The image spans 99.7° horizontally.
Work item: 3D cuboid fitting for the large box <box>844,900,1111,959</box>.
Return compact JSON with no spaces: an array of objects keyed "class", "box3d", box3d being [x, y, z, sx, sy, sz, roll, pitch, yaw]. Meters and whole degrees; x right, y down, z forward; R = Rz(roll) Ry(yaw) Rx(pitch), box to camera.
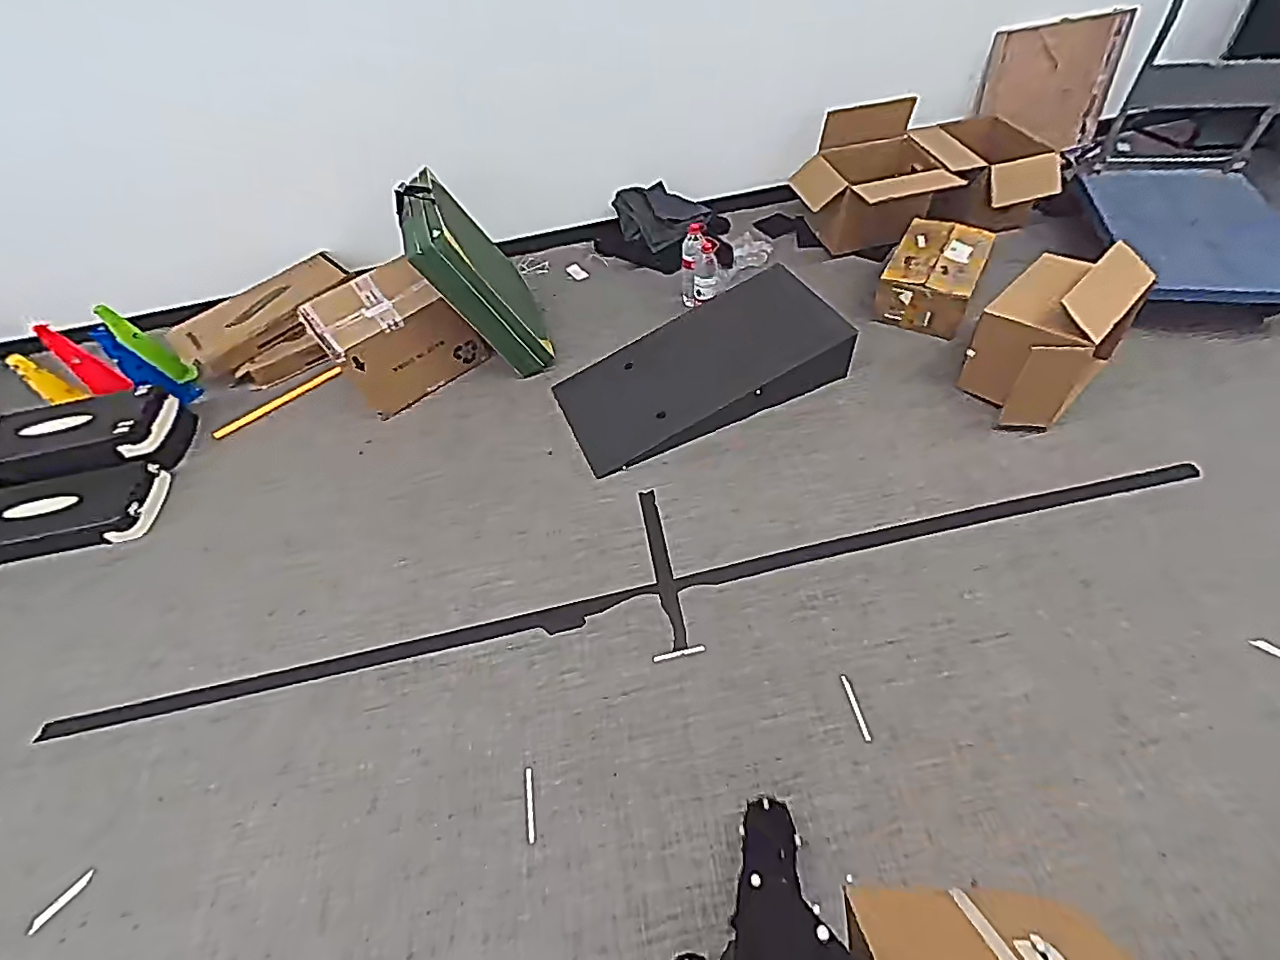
[{"class":"large box","box3d":[0.440,0.742,0.578,0.320,0.408,0.320,0,79,6]}]
